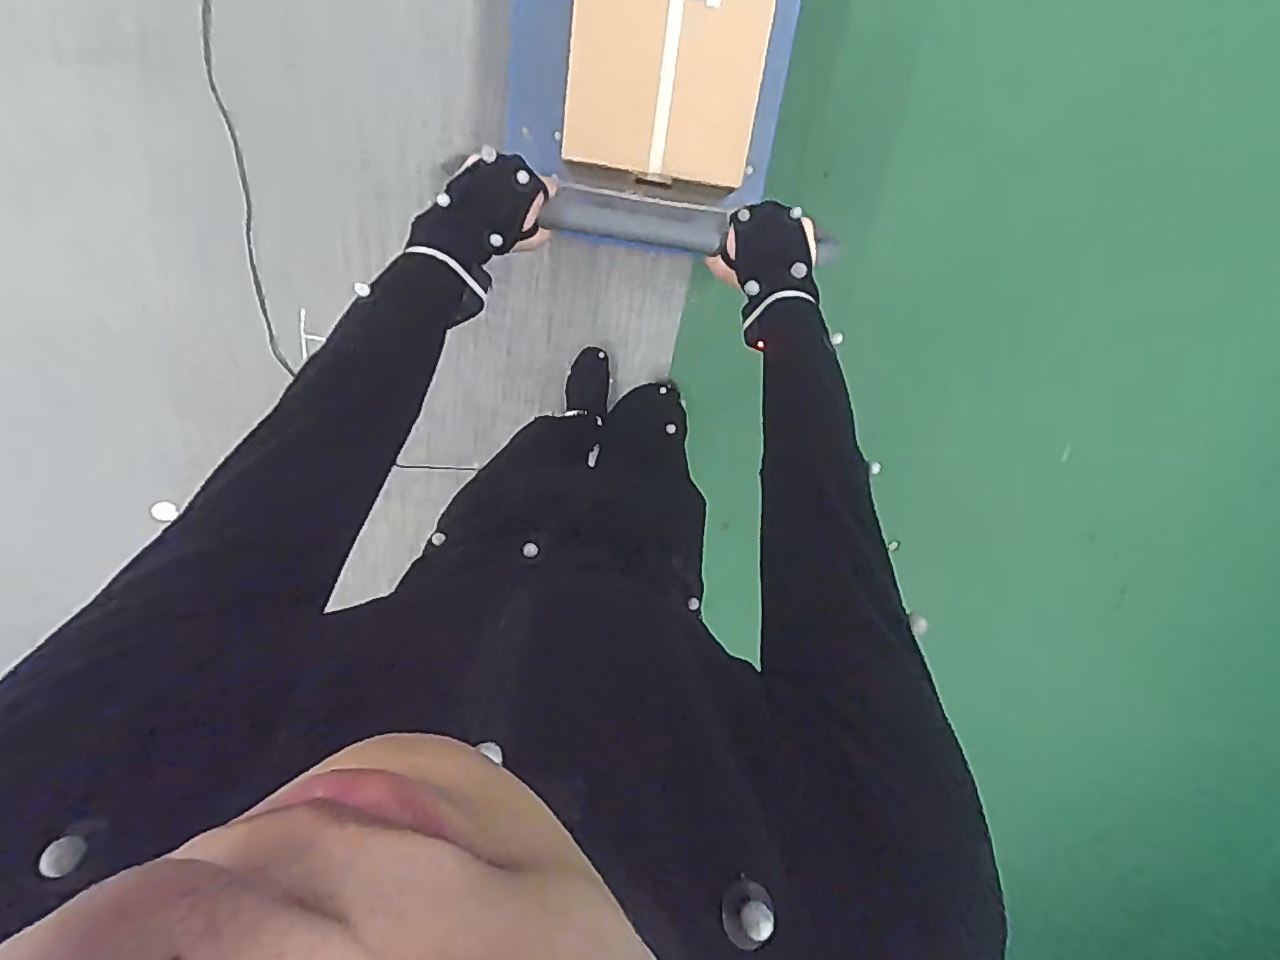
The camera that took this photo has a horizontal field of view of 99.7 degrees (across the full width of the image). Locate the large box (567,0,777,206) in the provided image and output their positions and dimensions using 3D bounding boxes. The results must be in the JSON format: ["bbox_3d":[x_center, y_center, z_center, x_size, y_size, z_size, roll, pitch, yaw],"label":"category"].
[{"bbox_3d":[0.049,-0.761,0.994,0.320,0.320,0.408,7,109,-6],"label":"large box"}]
